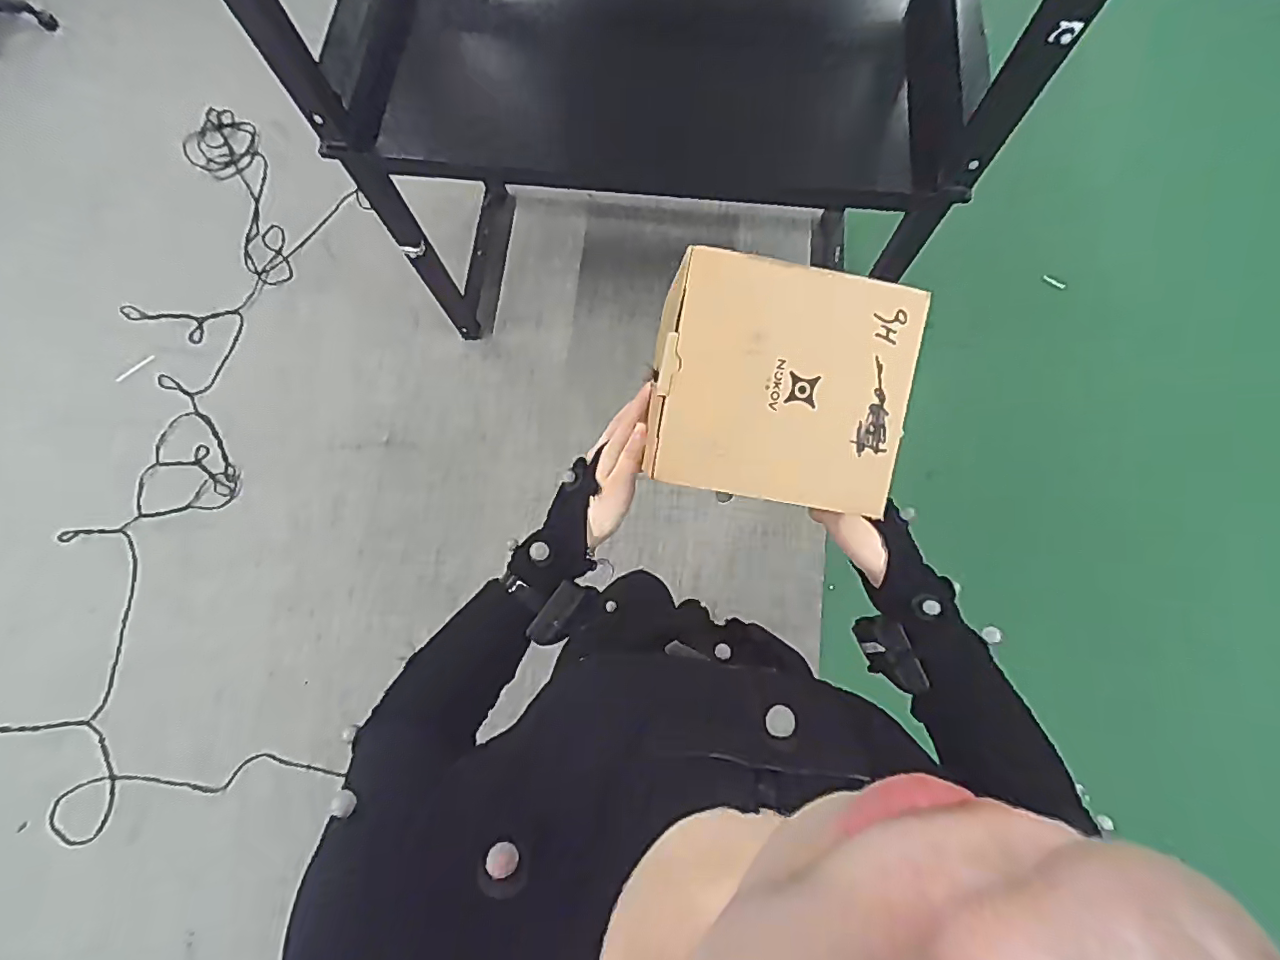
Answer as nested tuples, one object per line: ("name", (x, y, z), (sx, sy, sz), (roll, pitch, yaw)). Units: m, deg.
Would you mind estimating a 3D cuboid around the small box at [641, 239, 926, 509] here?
("small box", (0.099, -0.081, 0.460), (0.179, 0.176, 0.168), (10, 97, -4))
